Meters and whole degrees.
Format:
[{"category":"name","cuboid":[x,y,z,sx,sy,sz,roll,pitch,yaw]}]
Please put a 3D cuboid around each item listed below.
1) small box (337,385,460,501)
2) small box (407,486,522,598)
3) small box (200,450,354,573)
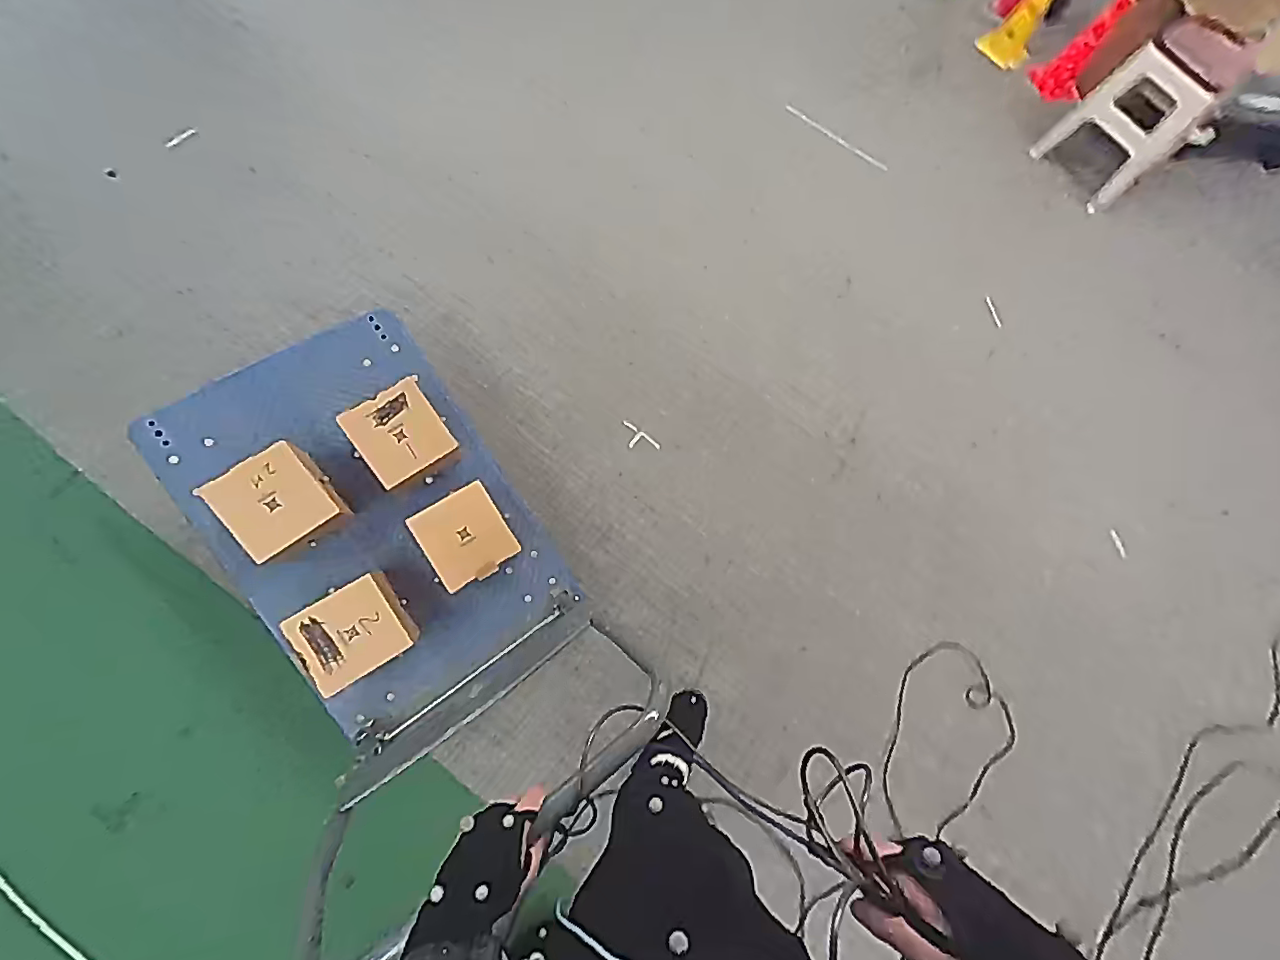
[{"category":"small box","cuboid":[-0.507,-0.071,1.160,0.168,0.176,0.179,-36,94,-17]},{"category":"small box","cuboid":[-0.377,0.136,1.172,0.168,0.176,0.179,-33,93,-18]},{"category":"small box","cuboid":[-0.709,0.066,1.082,0.168,0.176,0.179,-38,94,-18]}]
